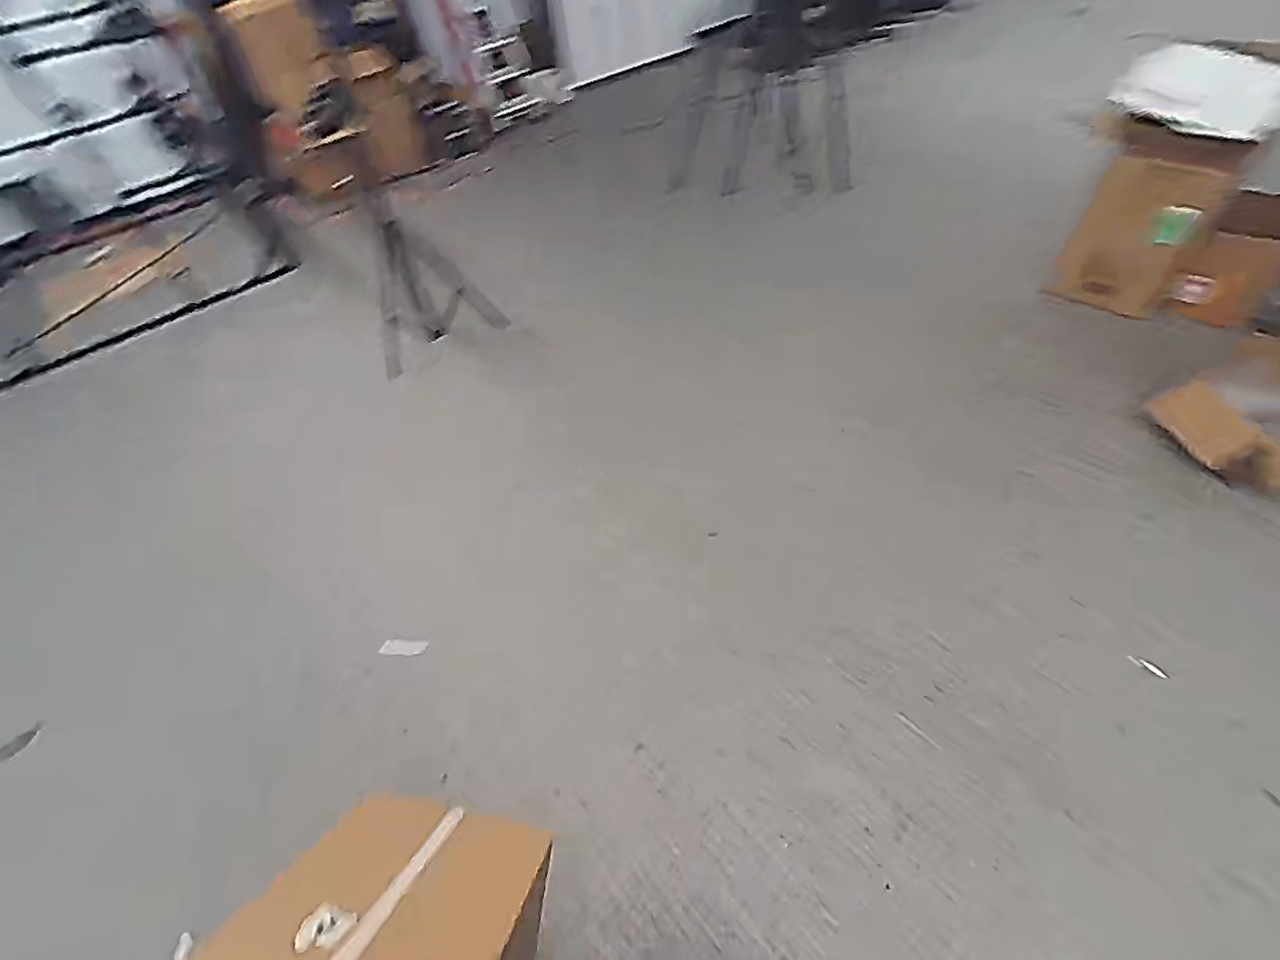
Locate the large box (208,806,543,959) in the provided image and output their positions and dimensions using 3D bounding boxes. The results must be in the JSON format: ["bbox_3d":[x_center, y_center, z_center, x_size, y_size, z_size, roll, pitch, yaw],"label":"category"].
[{"bbox_3d":[-0.340,0.701,0.677,0.320,0.408,0.320,7,90,6],"label":"large box"}]
